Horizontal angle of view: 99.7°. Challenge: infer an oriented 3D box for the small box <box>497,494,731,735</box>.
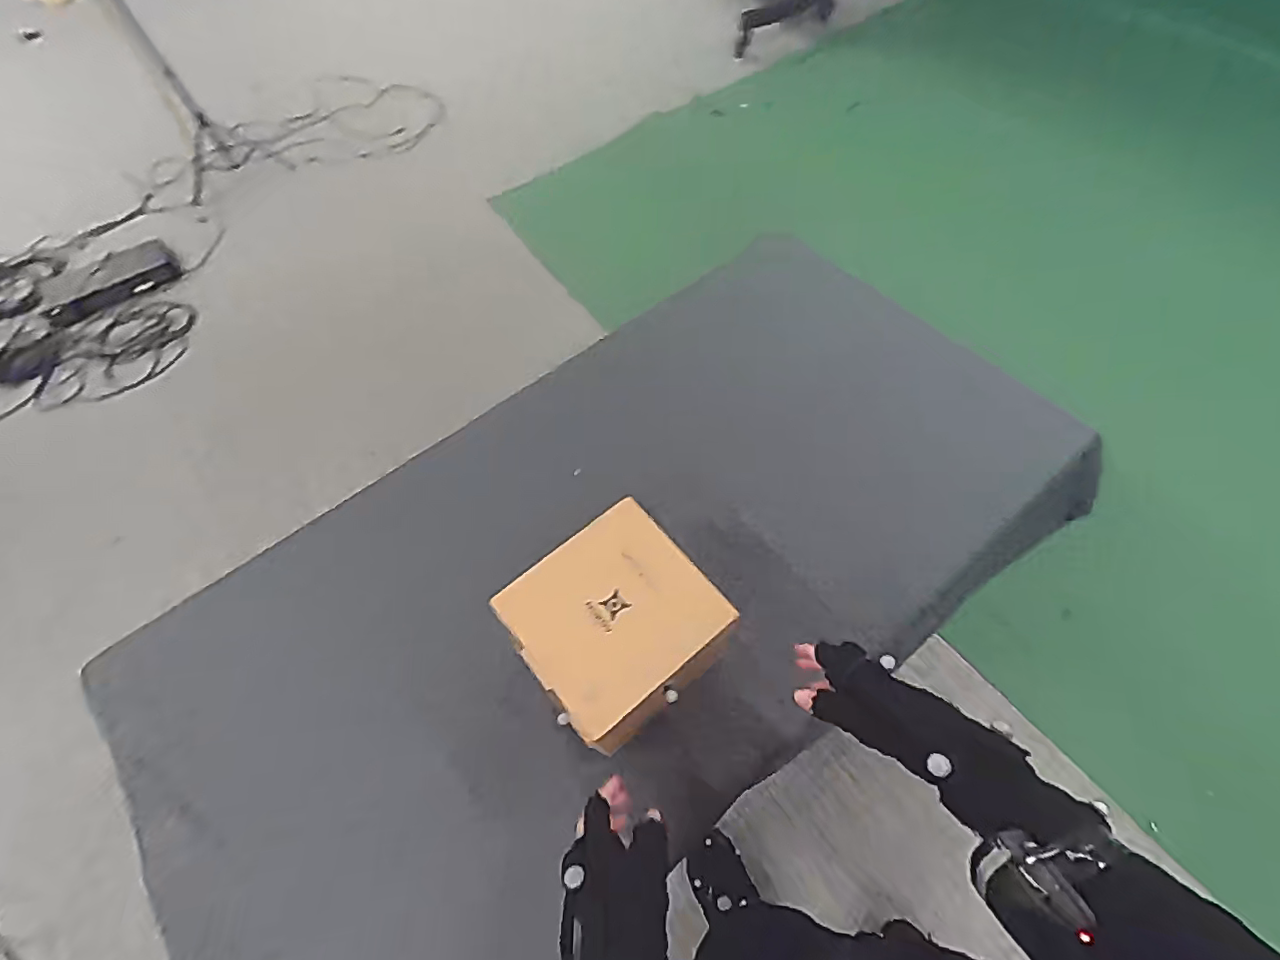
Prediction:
[{"bbox_3d":[-0.022,0.155,0.594,0.179,0.176,0.168,-37,66,-17],"label":"small box"}]
